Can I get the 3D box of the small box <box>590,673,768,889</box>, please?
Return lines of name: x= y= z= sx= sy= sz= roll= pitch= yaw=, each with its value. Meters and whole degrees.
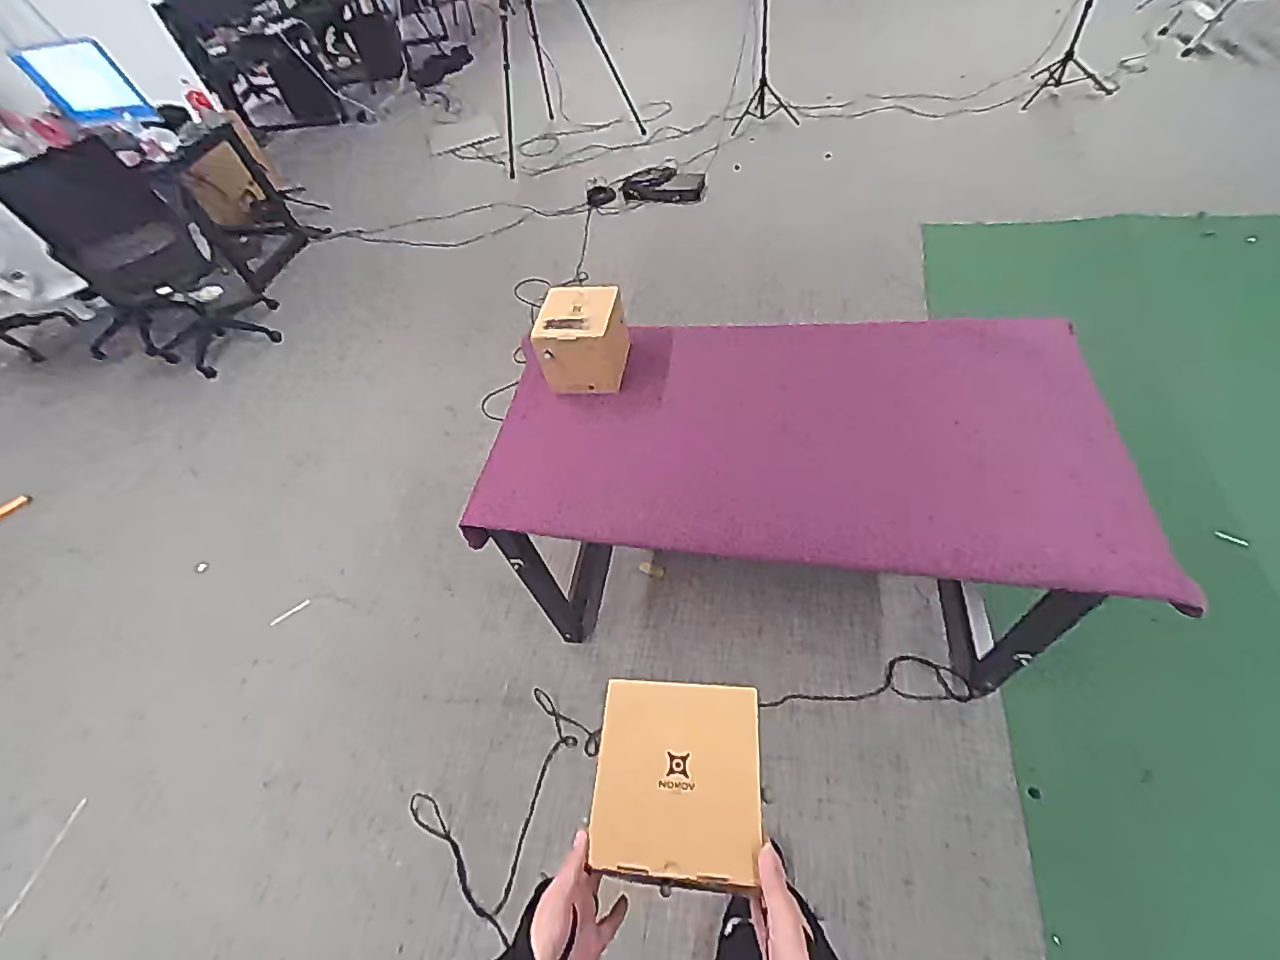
small box: x=0.047 y=0.335 z=0.601 sx=0.168 sy=0.176 sz=0.179 roll=1 pitch=52 yaw=7
